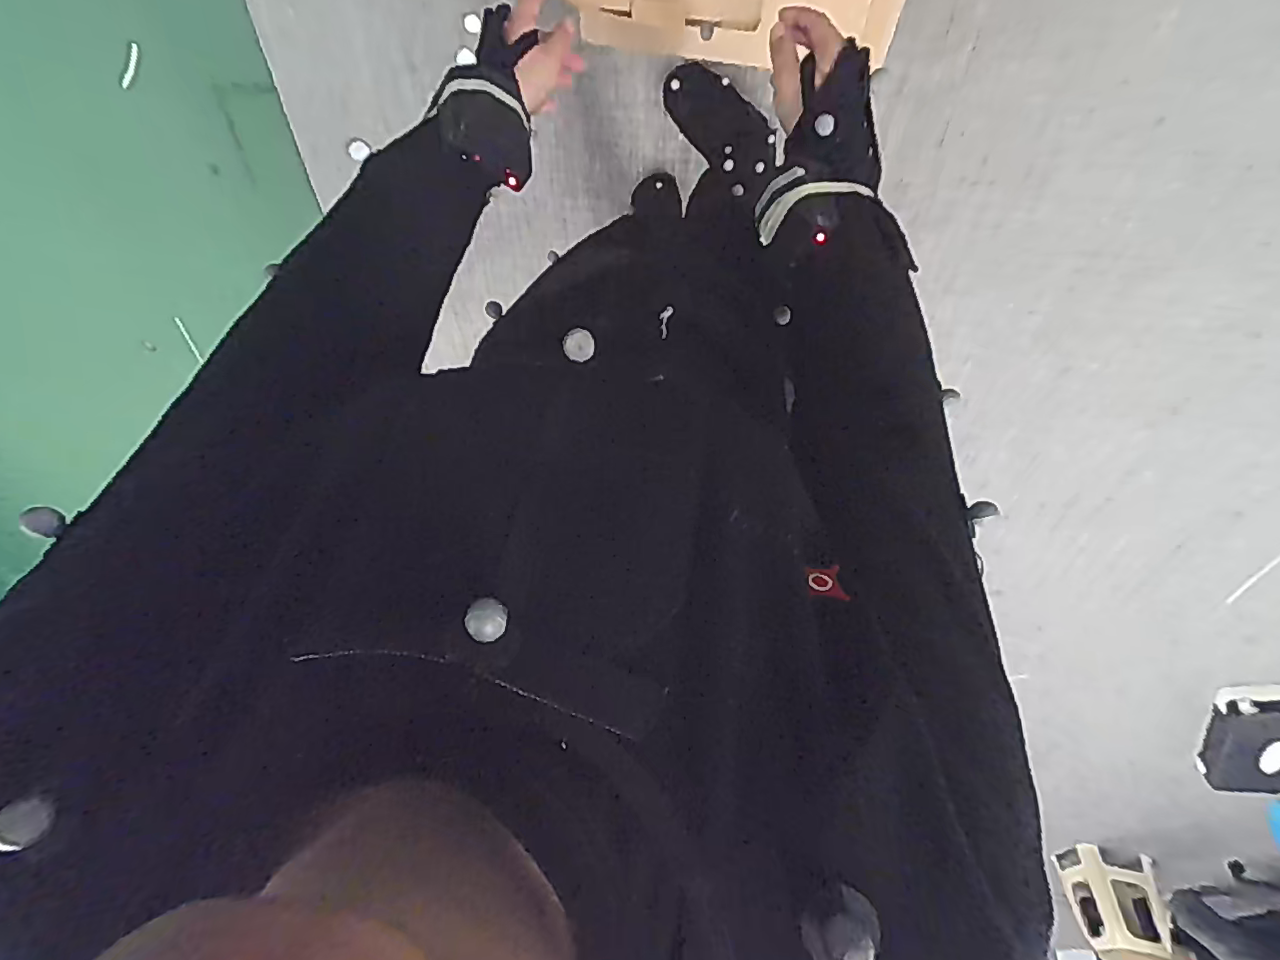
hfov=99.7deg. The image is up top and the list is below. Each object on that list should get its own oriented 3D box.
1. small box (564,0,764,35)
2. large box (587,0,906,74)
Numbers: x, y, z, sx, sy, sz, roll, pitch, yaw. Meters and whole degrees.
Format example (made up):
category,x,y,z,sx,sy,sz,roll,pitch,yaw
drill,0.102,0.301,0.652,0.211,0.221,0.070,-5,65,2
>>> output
category,x,y,z,sx,sy,sz,roll,pitch,yaw
small box,0.036,-0.491,0.440,0.168,0.176,0.179,9,134,4
large box,0.156,-0.770,0.716,0.408,0.320,0.320,10,136,4
